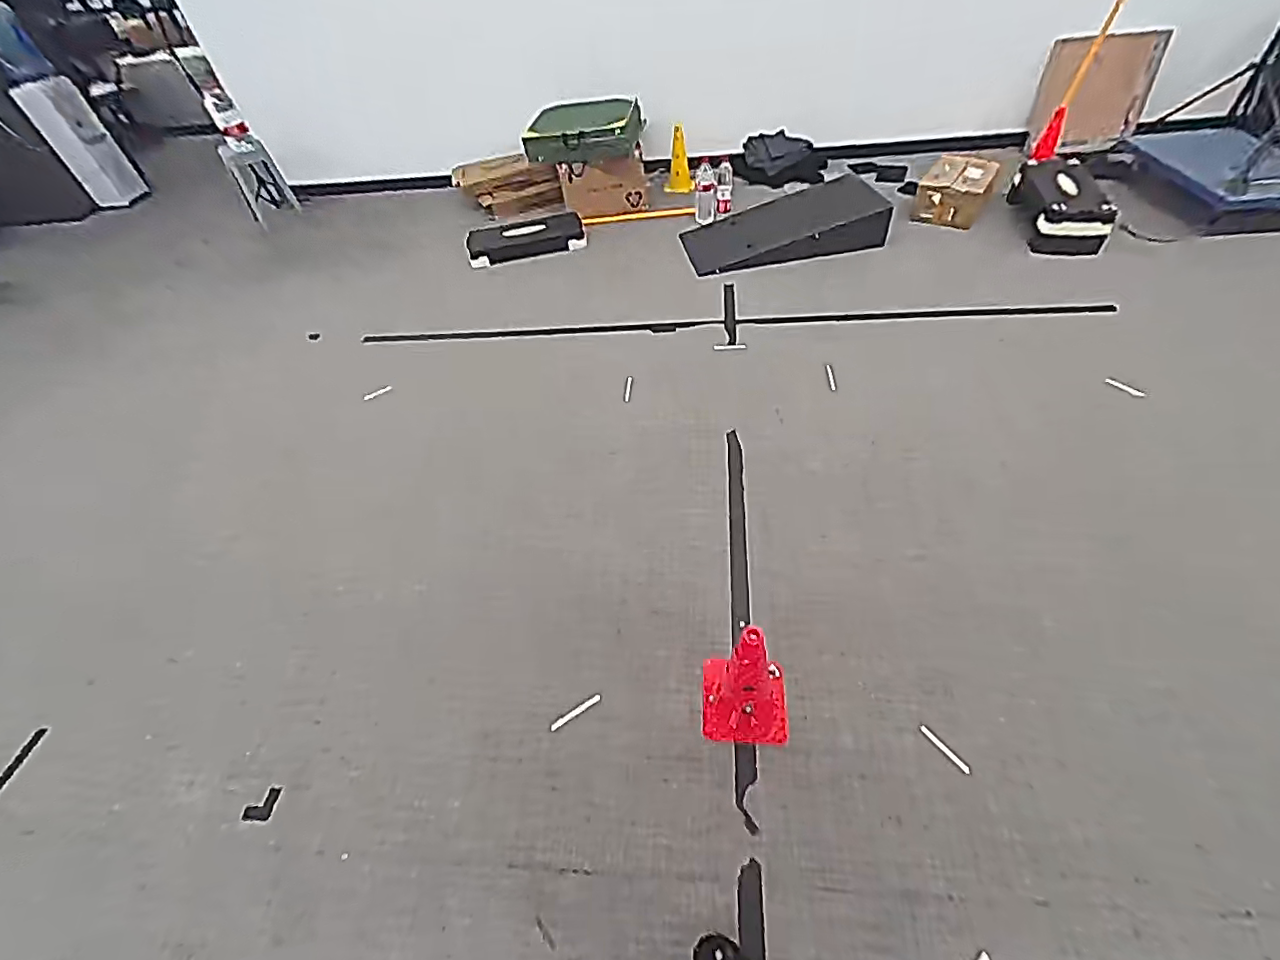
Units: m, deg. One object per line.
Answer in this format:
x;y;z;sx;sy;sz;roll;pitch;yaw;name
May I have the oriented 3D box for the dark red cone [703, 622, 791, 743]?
0.236;0.414;1.180;0.201;0.394;0.202;-1;48;7;dark red cone
